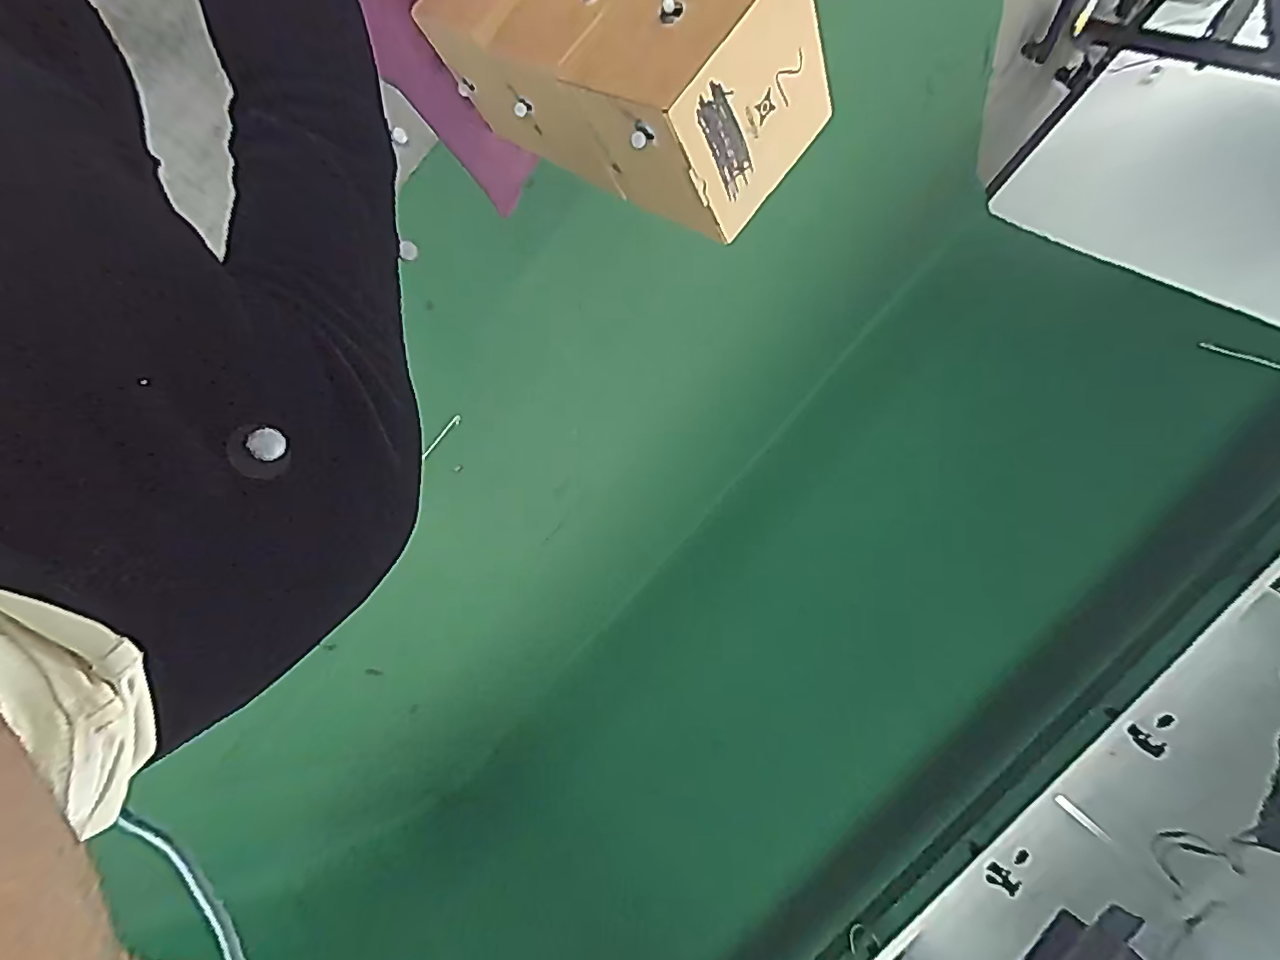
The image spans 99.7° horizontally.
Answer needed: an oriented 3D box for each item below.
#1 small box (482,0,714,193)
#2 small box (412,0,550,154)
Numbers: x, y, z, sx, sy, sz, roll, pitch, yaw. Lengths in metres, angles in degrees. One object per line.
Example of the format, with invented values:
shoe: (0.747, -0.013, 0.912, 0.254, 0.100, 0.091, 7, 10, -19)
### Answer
small box: (-0.047, -0.487, 0.629, 0.179, 0.176, 0.168, -48, 149, 1)
small box: (-0.155, -0.582, 0.708, 0.168, 0.176, 0.179, -48, 151, 1)
